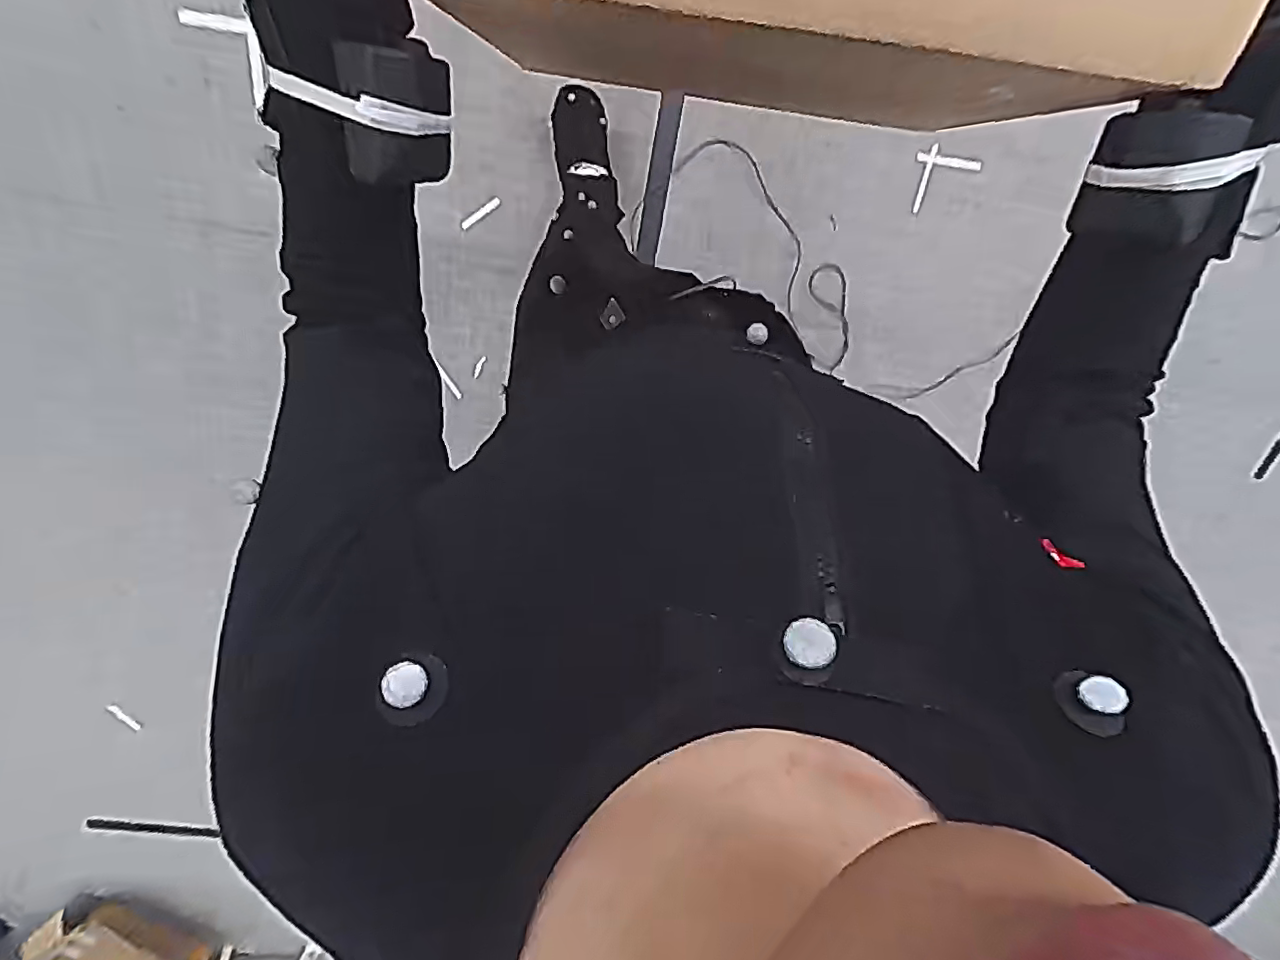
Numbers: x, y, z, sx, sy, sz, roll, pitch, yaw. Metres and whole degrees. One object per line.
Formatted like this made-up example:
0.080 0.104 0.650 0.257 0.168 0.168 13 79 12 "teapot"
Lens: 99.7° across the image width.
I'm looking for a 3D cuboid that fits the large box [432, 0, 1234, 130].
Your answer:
0.099 -0.421 0.320 0.408 0.320 0.320 7 121 -3 "large box"
